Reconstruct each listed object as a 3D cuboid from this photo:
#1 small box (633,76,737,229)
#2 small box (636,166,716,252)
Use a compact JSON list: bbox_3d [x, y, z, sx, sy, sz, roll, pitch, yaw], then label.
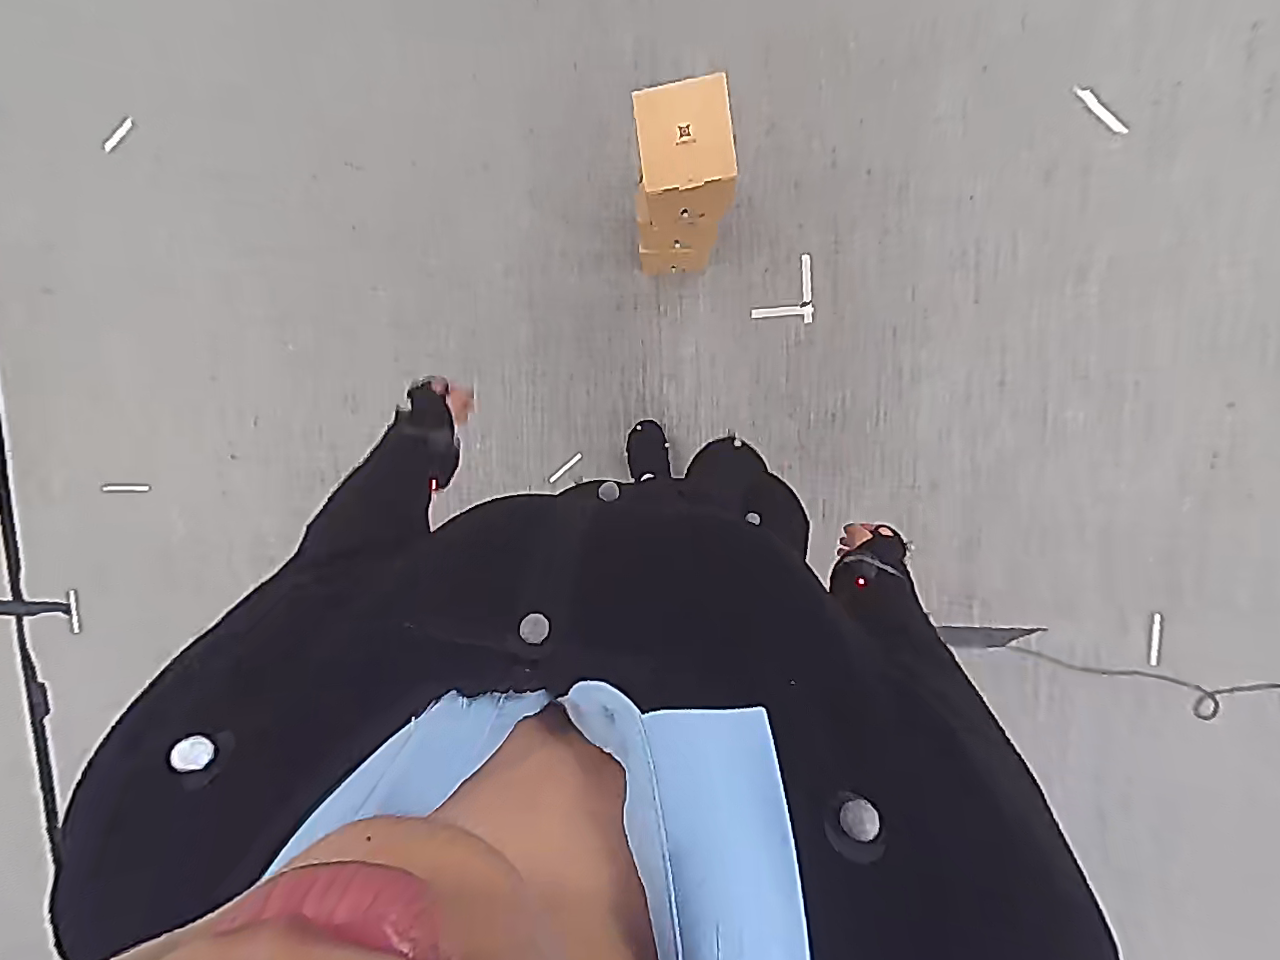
[{"bbox_3d":[0.083,-0.602,1.014,0.168,0.176,0.179,-8,95,6],"label":"small box"},{"bbox_3d":[0.085,-0.616,1.177,0.168,0.176,0.179,3,96,6],"label":"small box"}]
